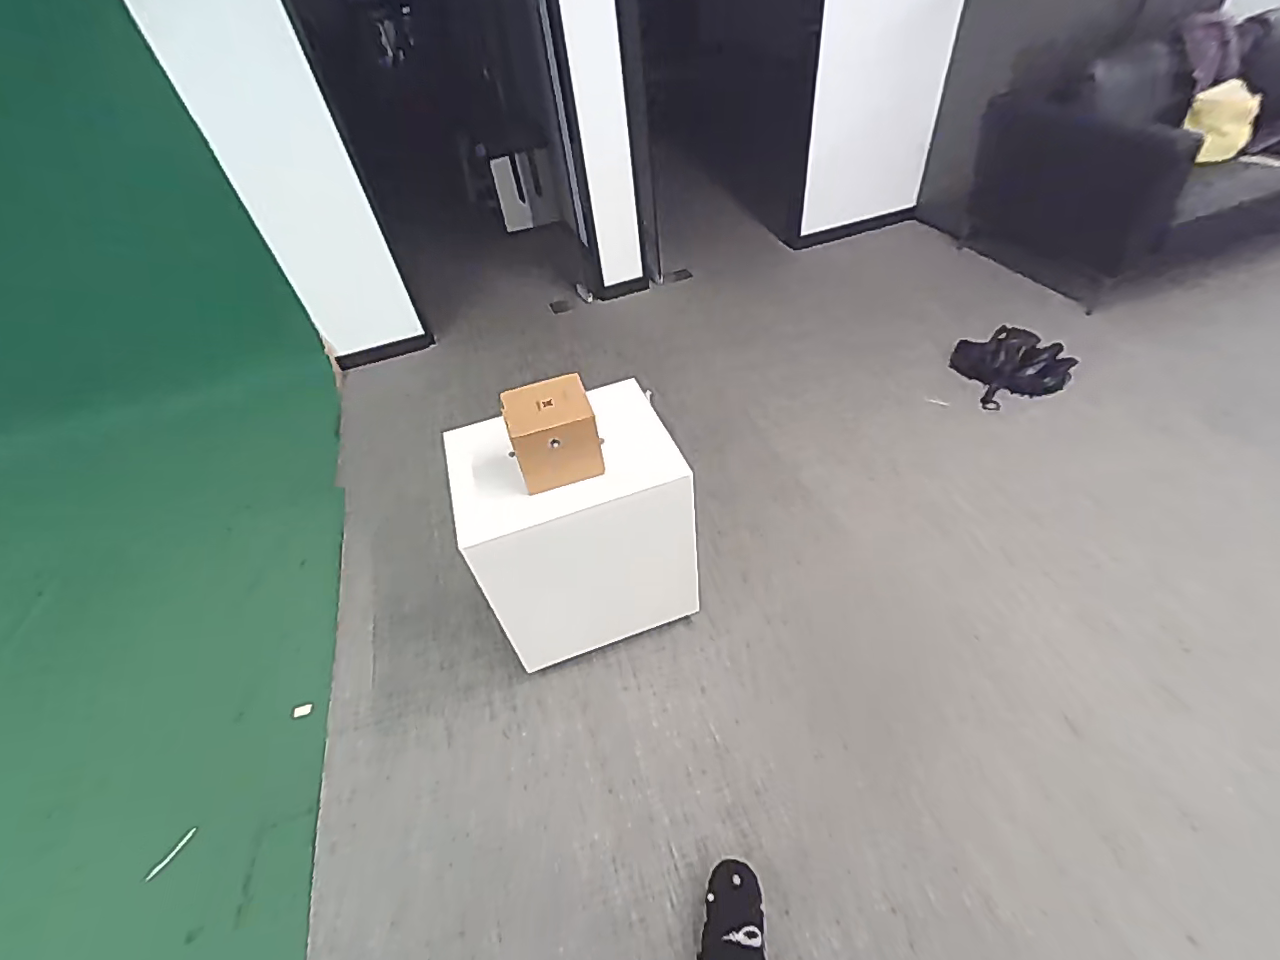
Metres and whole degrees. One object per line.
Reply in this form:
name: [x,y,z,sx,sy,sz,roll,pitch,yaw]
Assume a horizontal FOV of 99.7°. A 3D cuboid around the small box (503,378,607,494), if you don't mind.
small box: [-0.184,-0.092,1.183,0.179,0.176,0.168,-16,46,-9]
